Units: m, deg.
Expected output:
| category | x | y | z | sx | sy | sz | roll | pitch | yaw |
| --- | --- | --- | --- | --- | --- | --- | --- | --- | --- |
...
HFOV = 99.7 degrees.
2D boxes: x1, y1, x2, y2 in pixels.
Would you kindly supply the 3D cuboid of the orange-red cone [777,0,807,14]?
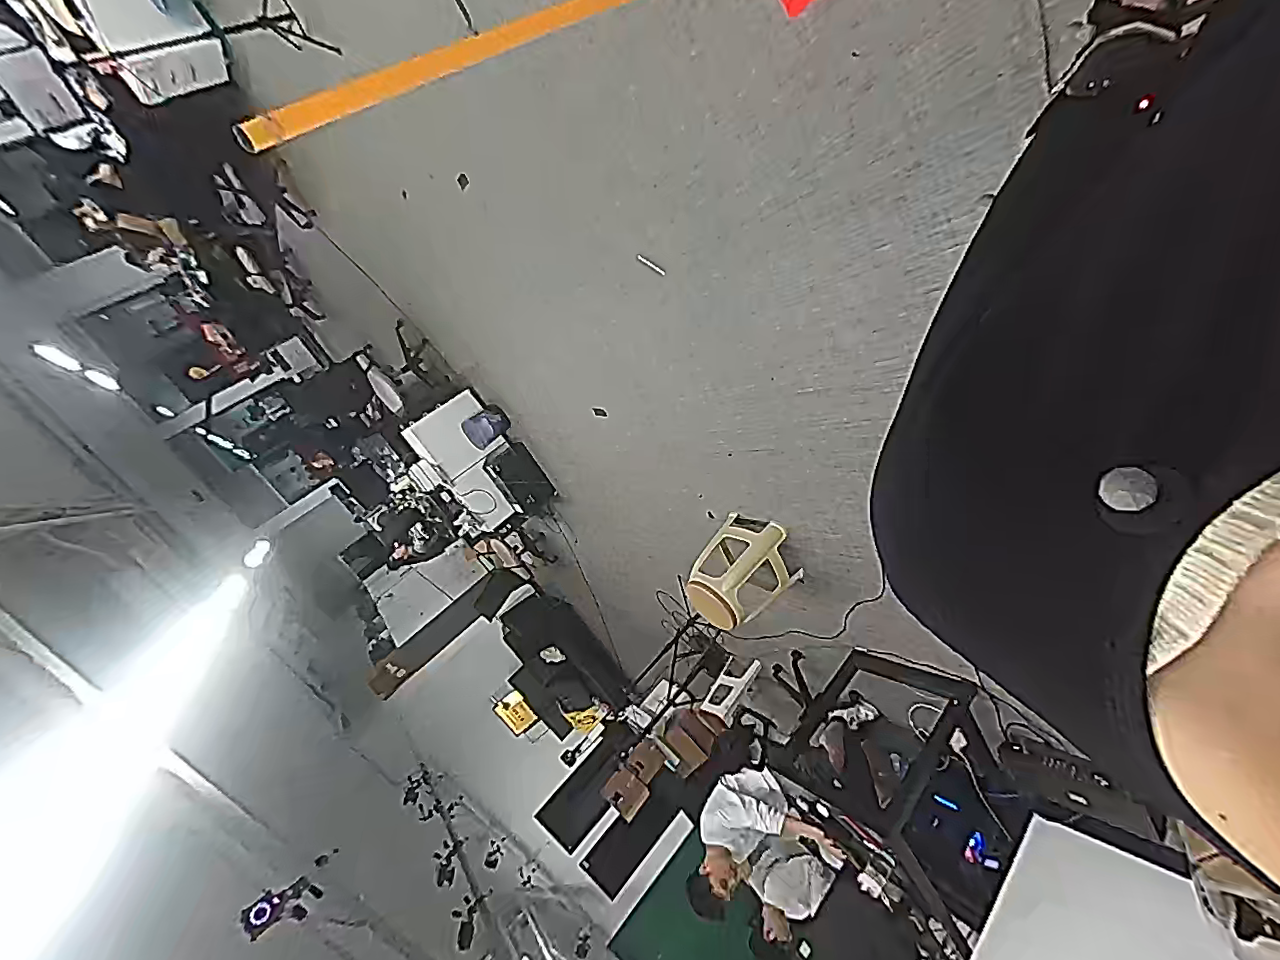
| category | x | y | z | sx | sy | sz | roll | pitch | yaw |
| --- | --- | --- | --- | --- | --- | --- | --- | --- | --- |
| orange-red cone | 0.208 | -1.002 | 1.017 | 0.198 | 0.360 | 0.199 | 55 | 153 | -14 |
